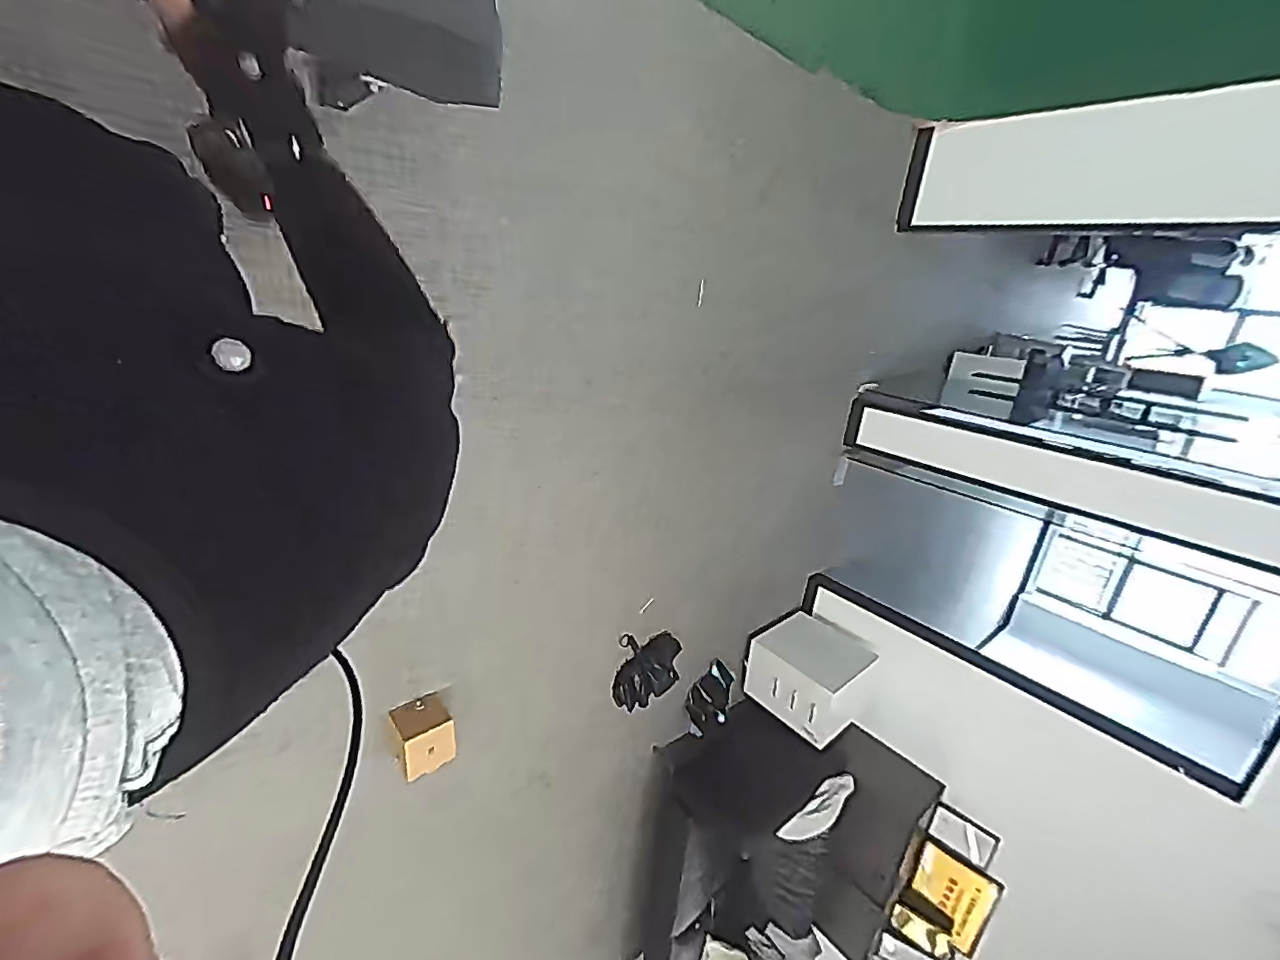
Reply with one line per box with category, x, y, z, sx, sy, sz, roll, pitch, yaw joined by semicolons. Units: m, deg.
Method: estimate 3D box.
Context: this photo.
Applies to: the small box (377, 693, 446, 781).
small box;-0.782;0.873;1.850;0.168;0.176;0.179;-16;118;-41
